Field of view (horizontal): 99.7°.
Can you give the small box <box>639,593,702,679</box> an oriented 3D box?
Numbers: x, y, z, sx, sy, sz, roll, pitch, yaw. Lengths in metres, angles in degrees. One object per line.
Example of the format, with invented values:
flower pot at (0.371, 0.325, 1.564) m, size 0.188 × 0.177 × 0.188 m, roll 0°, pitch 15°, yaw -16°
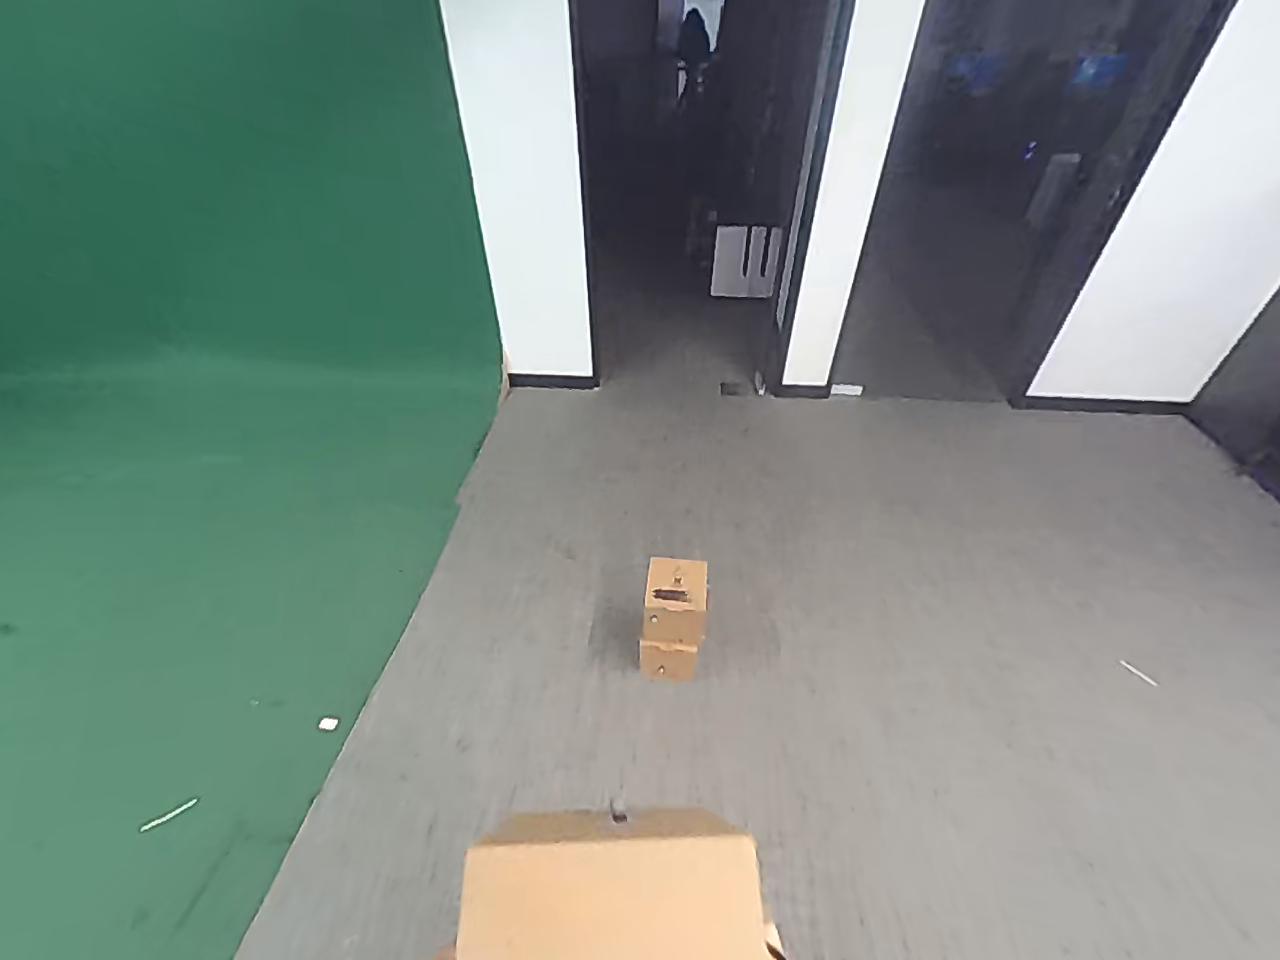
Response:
small box at (0.090, 0.475, 1.648) m, size 0.168 × 0.176 × 0.179 m, roll 7°, pitch 42°, yaw 8°
